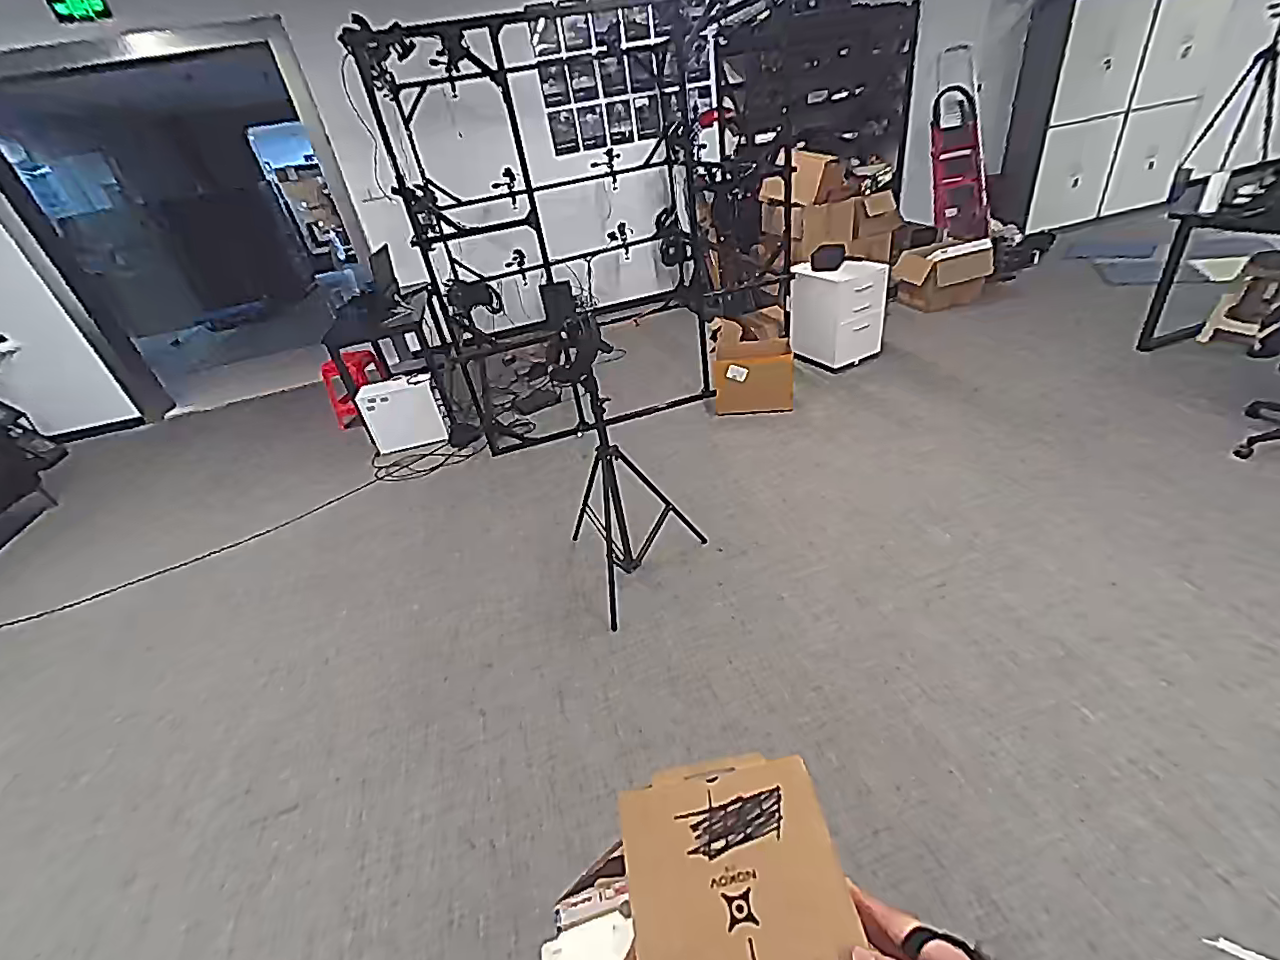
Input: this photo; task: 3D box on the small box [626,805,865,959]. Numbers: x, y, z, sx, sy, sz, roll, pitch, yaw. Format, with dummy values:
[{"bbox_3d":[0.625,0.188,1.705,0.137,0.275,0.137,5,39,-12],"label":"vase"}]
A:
[{"bbox_3d":[0.086,0.403,0.446,0.168,0.176,0.179,-10,43,-2],"label":"small box"}]
